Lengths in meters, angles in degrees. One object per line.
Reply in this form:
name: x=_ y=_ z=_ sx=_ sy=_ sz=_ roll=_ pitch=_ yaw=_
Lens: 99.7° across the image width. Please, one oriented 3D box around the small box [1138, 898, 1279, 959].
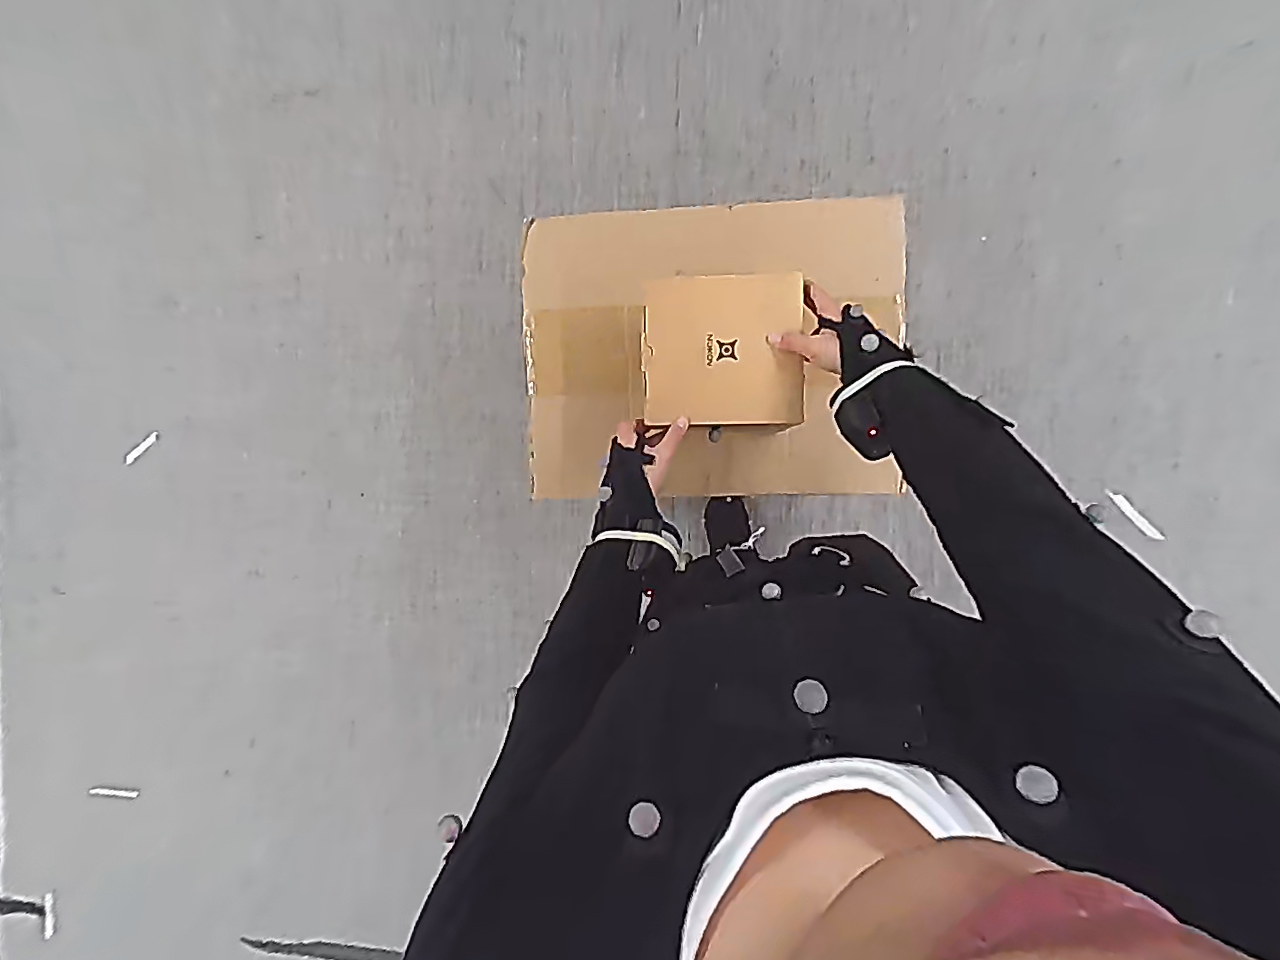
small box: x=1.268 y=1.074 z=1.198 sx=0.179 sy=0.176 sz=0.168 roll=1 pitch=91 yaw=7
